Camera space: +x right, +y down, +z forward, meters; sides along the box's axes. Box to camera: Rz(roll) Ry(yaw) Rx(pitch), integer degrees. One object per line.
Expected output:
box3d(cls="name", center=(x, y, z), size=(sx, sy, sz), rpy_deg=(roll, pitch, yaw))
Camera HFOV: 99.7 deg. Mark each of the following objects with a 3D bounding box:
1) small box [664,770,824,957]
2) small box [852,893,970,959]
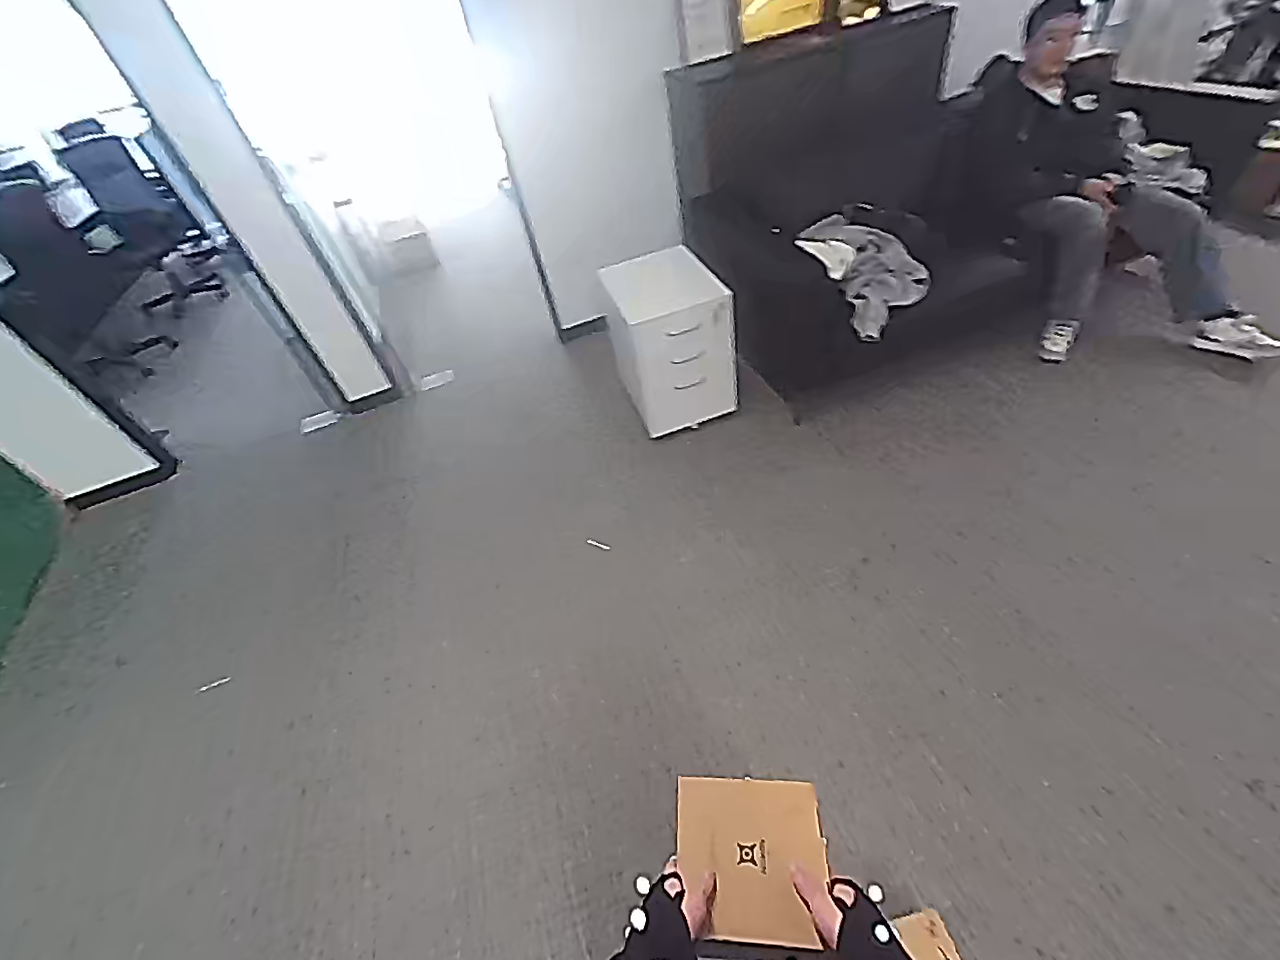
box3d(cls="small box", center=(0.128, 0.498, 0.703), size=(0.179, 0.176, 0.168), rpy_deg=(-2, 42, 8))
box3d(cls="small box", center=(0.528, 0.967, 1.053), size=(0.168, 0.176, 0.179), rpy_deg=(-36, 47, -24))
